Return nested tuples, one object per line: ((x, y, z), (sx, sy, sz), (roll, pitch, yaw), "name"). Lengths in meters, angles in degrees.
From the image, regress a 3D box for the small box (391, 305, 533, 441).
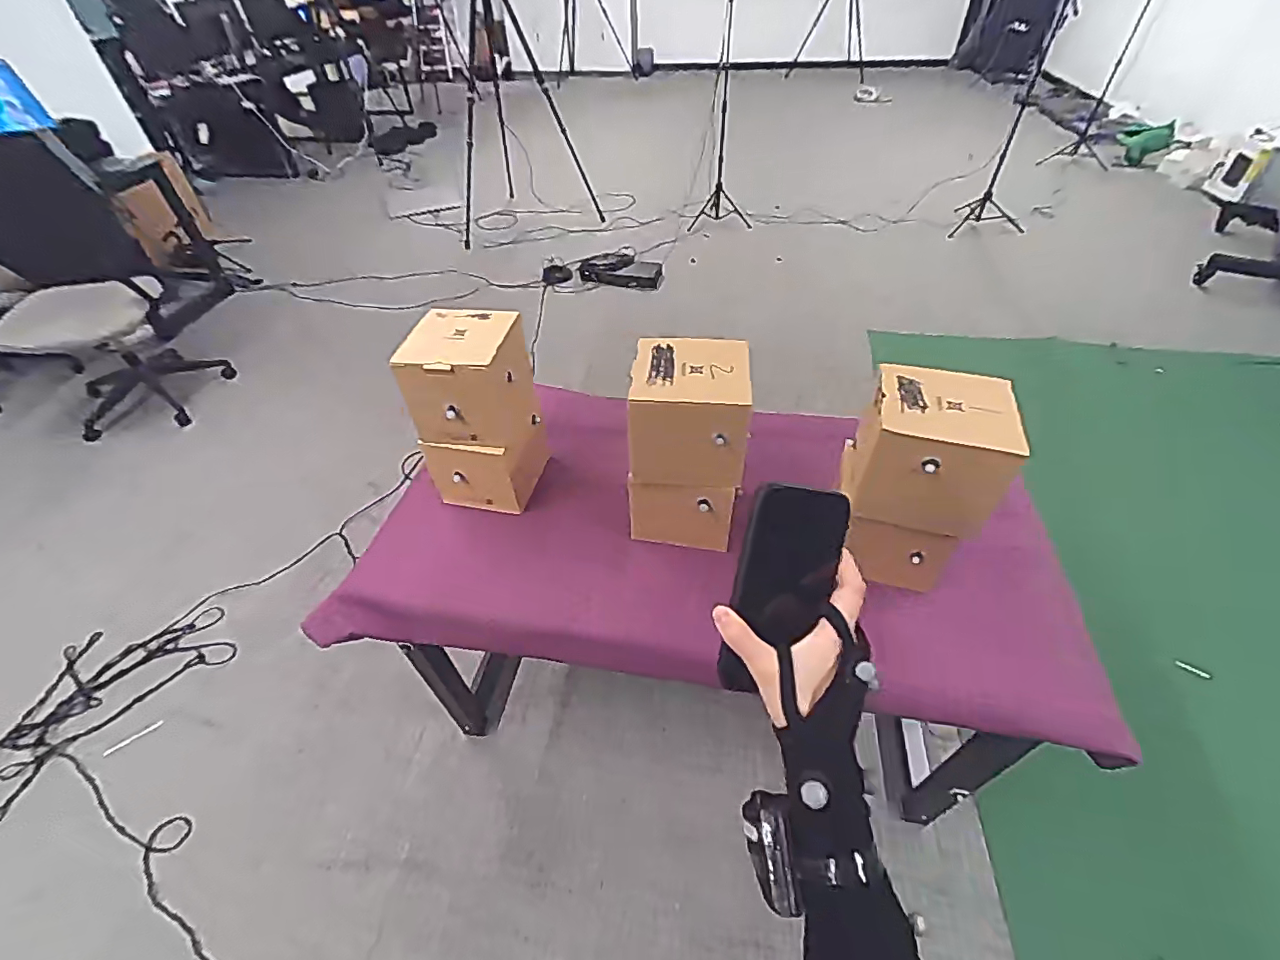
((-0.297, -0.186, 0.950), (0.168, 0.176, 0.179), (5, 47, 6), "small box")

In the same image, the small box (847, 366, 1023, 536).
((0.412, -0.041, 0.787), (0.179, 0.176, 0.168), (13, 47, 13), "small box")

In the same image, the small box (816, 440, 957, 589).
((0.411, 0.061, 0.916), (0.179, 0.176, 0.168), (12, 47, 15), "small box")

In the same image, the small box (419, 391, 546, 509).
((-0.295, -0.066, 1.063), (0.168, 0.176, 0.179), (9, 47, 10), "small box")

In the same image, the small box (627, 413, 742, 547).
((0.082, 0.003, 0.982), (0.179, 0.176, 0.168), (8, 47, 10), "small box")
